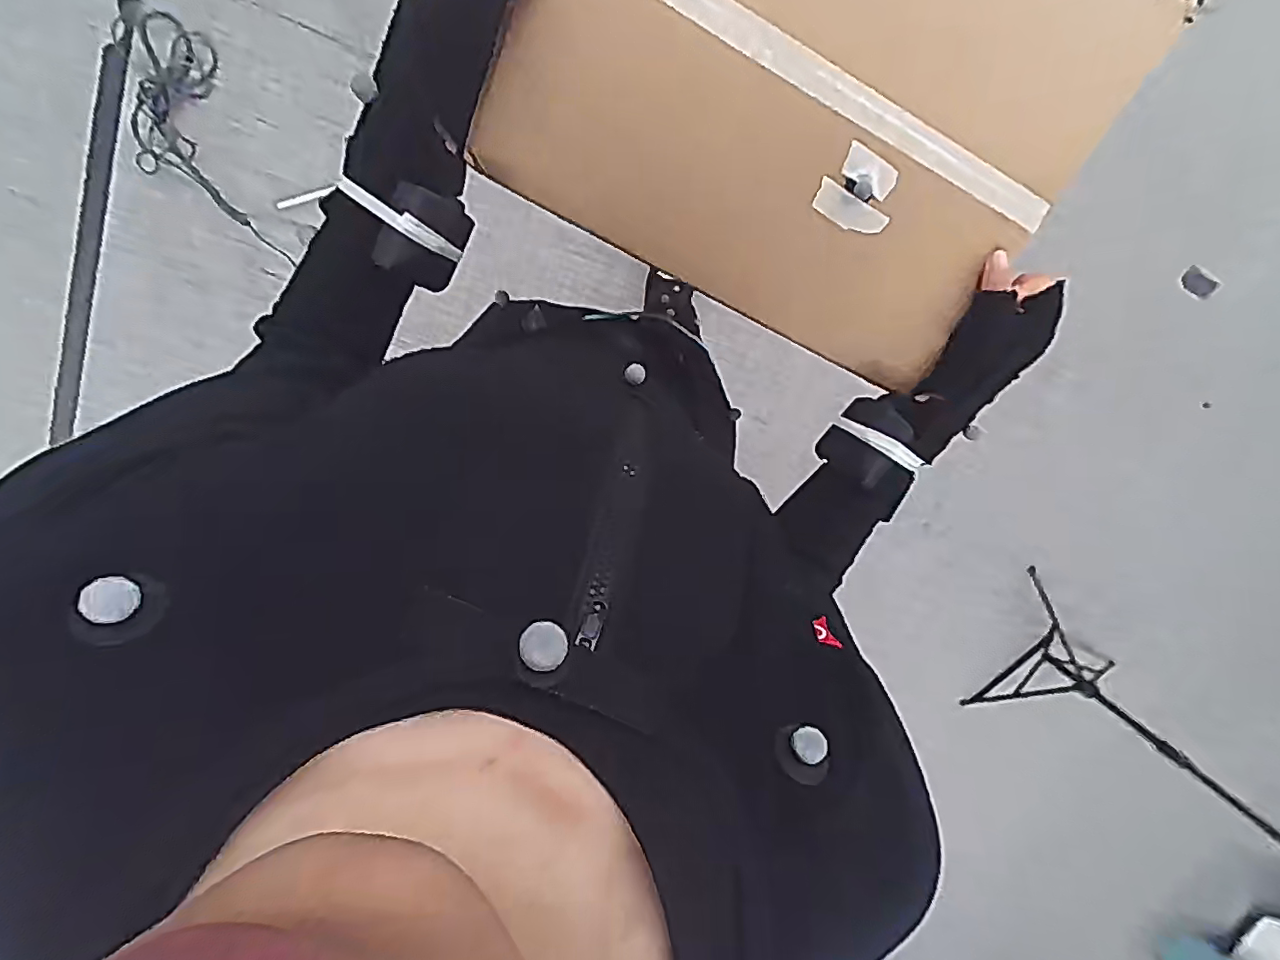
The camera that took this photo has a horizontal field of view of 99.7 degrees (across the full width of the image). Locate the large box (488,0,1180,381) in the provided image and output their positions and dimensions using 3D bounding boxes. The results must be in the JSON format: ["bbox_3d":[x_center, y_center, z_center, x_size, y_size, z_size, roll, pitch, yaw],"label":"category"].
[{"bbox_3d":[0.123,-0.348,0.517,0.408,0.320,0.320,24,114,-12],"label":"large box"}]
